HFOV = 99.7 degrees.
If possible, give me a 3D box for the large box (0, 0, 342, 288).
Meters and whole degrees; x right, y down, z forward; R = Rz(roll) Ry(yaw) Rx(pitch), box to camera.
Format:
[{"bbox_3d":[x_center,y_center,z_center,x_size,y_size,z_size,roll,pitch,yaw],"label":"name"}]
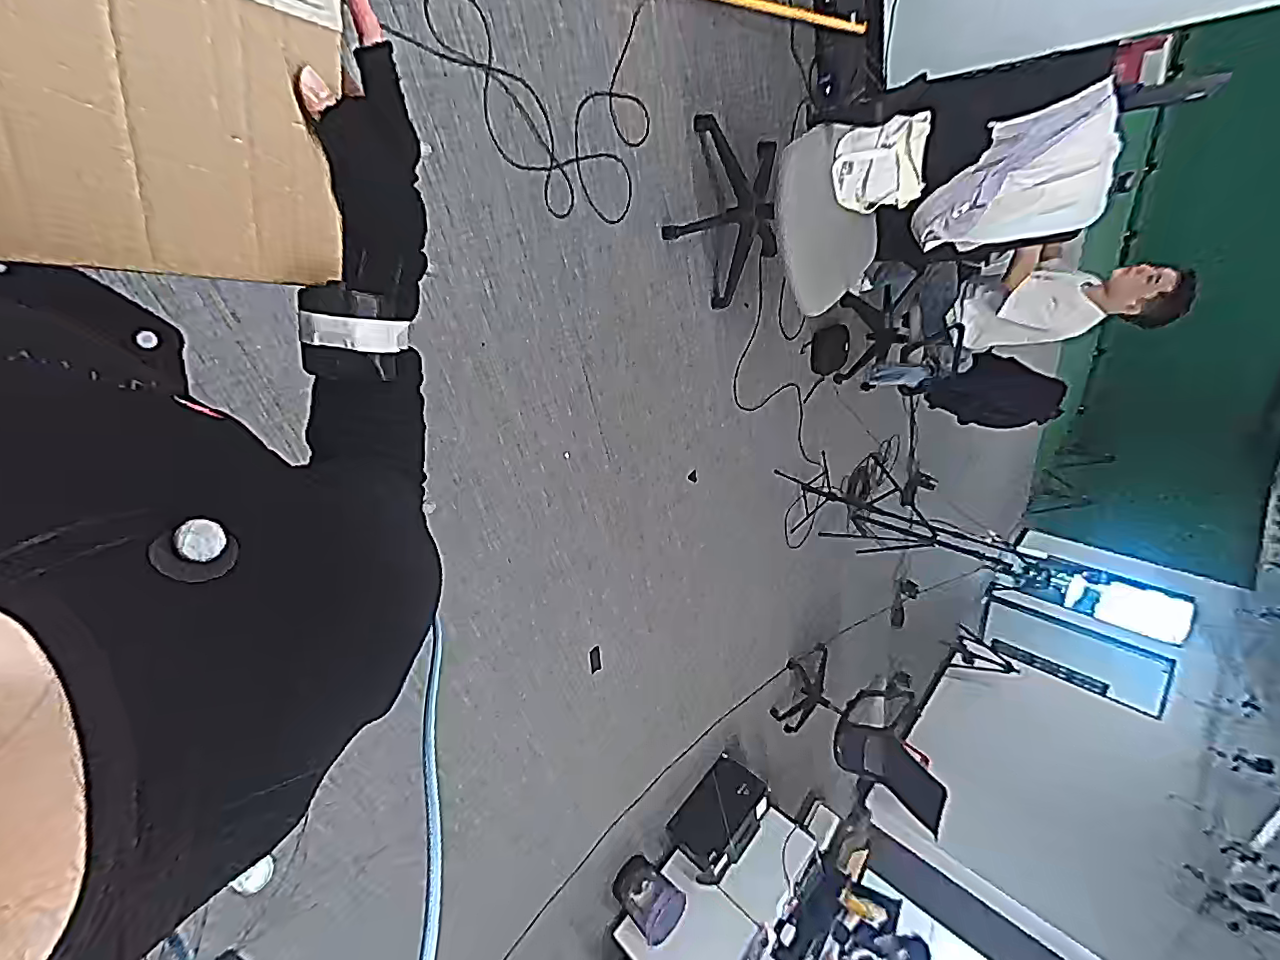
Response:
[{"bbox_3d":[-0.425,-0.314,0.286,0.408,0.320,0.320,-11,129,-40],"label":"large box"}]
